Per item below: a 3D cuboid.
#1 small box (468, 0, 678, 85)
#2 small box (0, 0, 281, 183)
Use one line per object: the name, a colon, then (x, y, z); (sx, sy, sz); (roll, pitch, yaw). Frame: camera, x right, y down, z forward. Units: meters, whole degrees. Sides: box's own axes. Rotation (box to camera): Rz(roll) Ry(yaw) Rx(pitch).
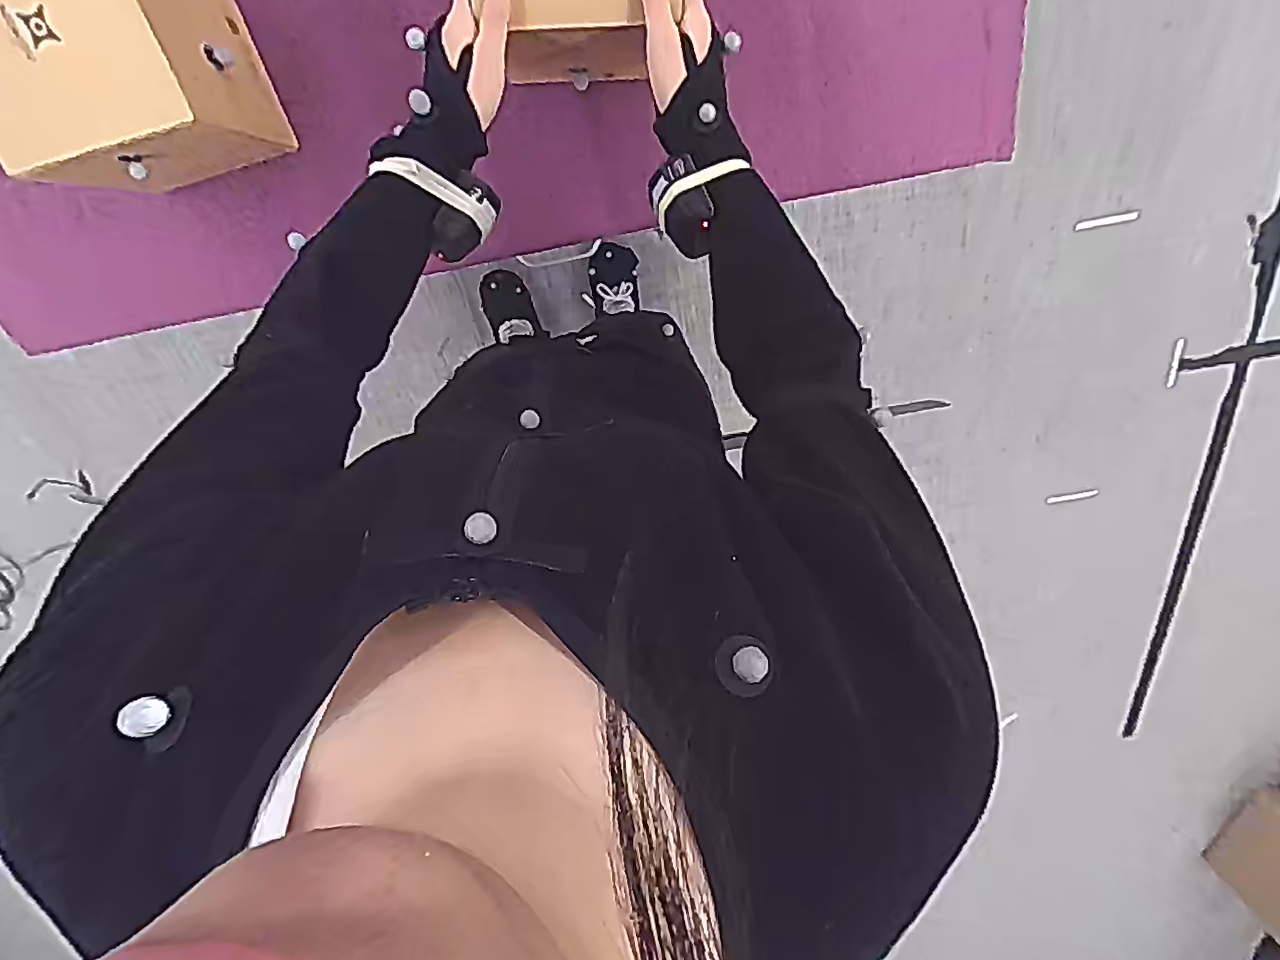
small box: (-0.057, -0.465, 0.463); (0.168, 0.176, 0.179); (-2, 115, -2)
small box: (-0.468, -0.381, 0.486); (0.179, 0.176, 0.168); (-14, 115, 4)
